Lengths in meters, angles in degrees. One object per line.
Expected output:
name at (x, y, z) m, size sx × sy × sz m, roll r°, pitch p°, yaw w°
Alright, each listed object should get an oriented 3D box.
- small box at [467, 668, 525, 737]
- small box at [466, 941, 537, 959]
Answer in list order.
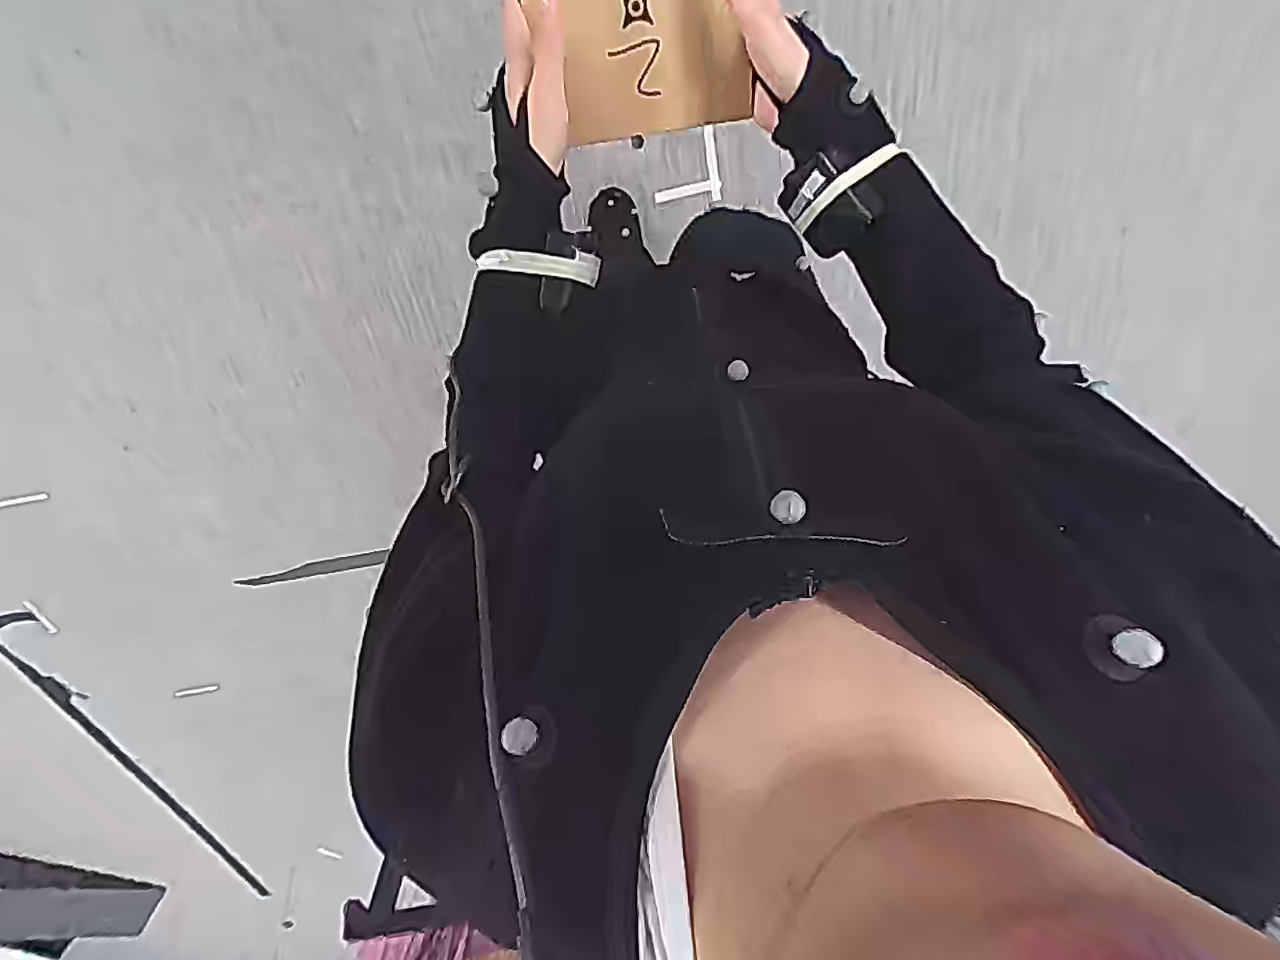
small box at (-0.510, 0.789, 1.926) m, size 0.179 × 0.176 × 0.168 m, roll 4°, pitch 118°, yaw -8°
small box at (-0.369, 1.349, 1.411) m, size 0.179 × 0.176 × 0.168 m, roll -9°, pitch 120°, yaw 0°
